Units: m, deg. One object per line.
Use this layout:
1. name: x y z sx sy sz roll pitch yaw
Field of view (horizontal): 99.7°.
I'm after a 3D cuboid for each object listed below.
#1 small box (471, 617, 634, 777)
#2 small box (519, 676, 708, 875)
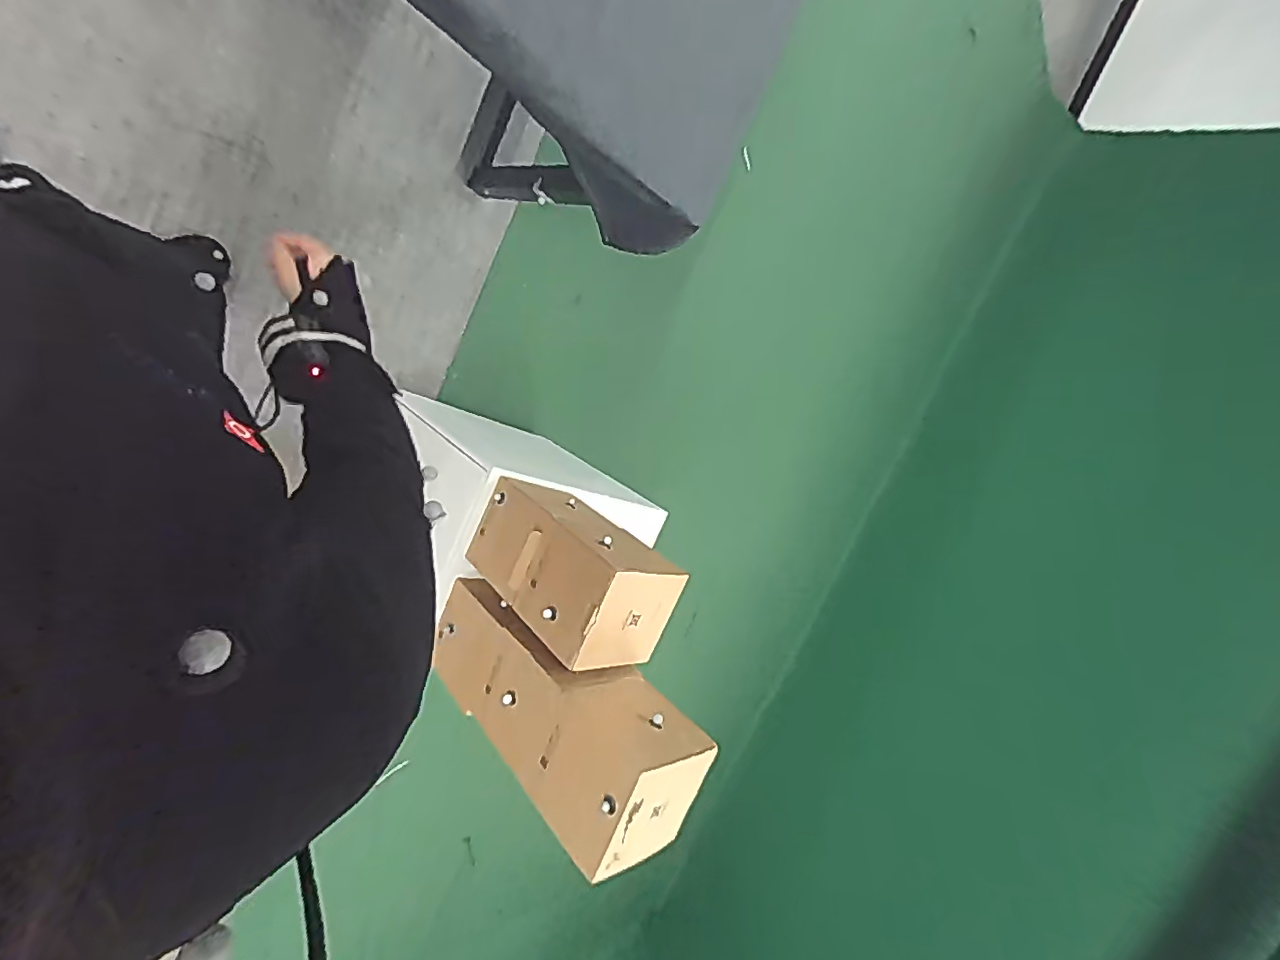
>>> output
1. small box: -0.148 0.341 0.885 0.179 0.176 0.168 12 104 -49
2. small box: -0.039 0.404 0.780 0.179 0.176 0.168 15 101 -50
